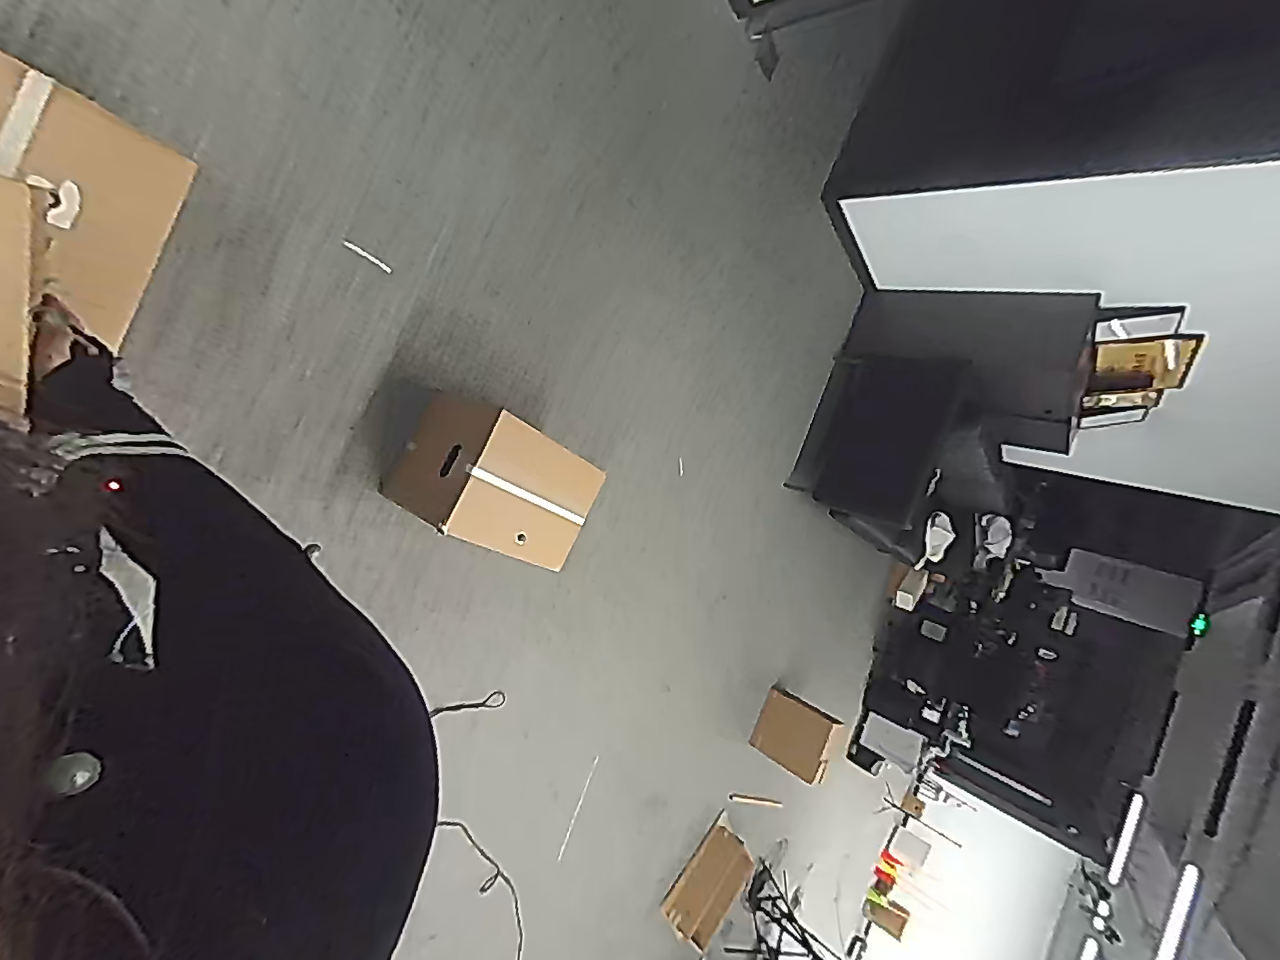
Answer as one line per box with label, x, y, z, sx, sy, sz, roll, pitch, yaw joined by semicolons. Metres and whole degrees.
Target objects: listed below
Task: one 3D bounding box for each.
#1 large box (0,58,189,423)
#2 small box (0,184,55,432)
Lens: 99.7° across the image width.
large box;-0.903;-0.331;0.741;0.320;0.320;0.408;24;84;-50
small box;-0.557;-0.148;0.395;0.168;0.176;0.179;3;107;-46
